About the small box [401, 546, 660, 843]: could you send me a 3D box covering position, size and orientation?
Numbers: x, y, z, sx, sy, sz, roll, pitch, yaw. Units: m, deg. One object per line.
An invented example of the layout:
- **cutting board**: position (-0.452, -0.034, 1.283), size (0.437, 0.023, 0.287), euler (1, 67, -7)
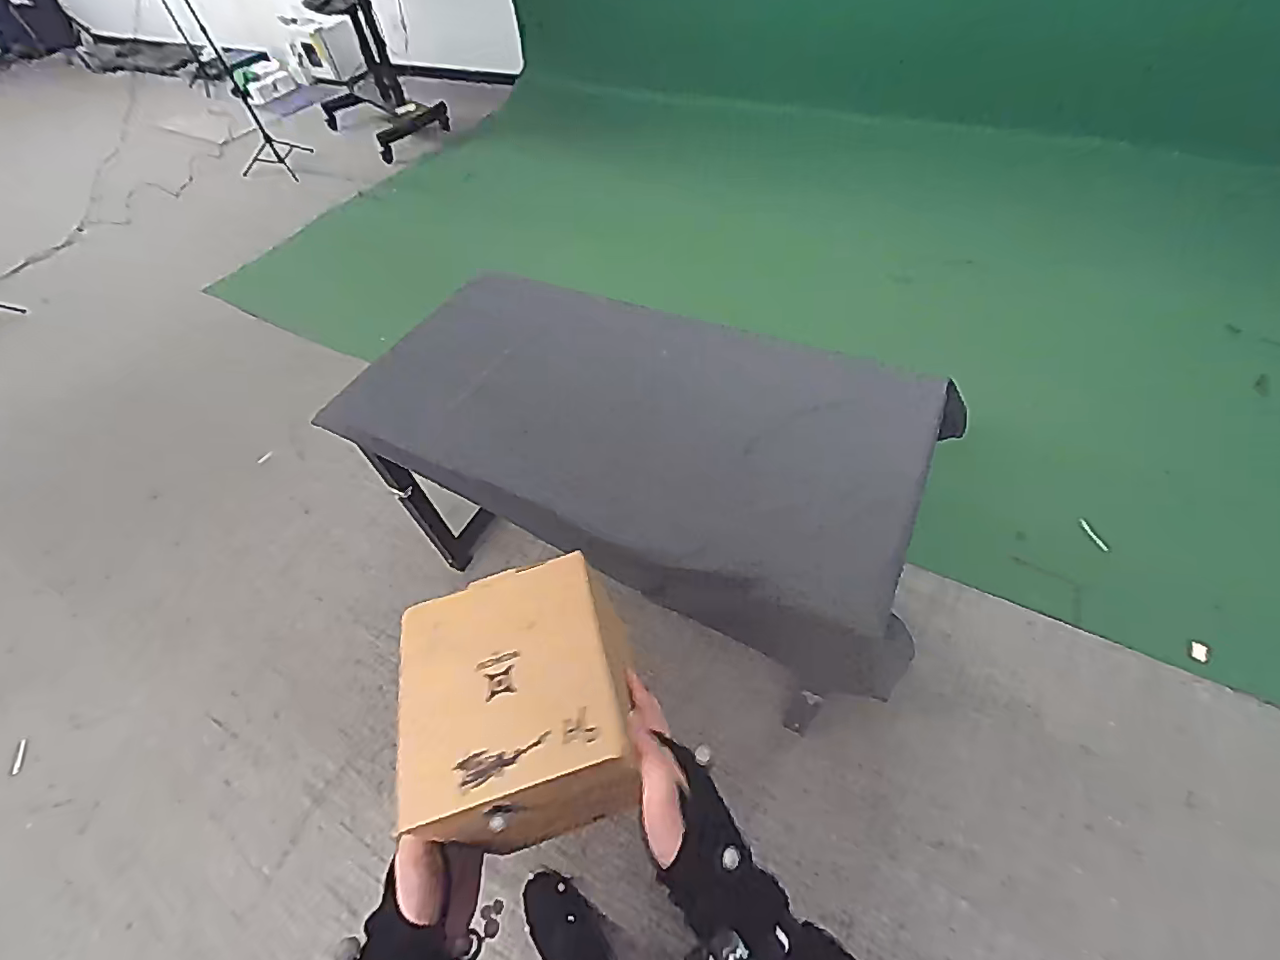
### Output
- **small box**: position (-0.091, 0.194, 0.483), size (0.168, 0.176, 0.179), euler (-19, 50, -2)
